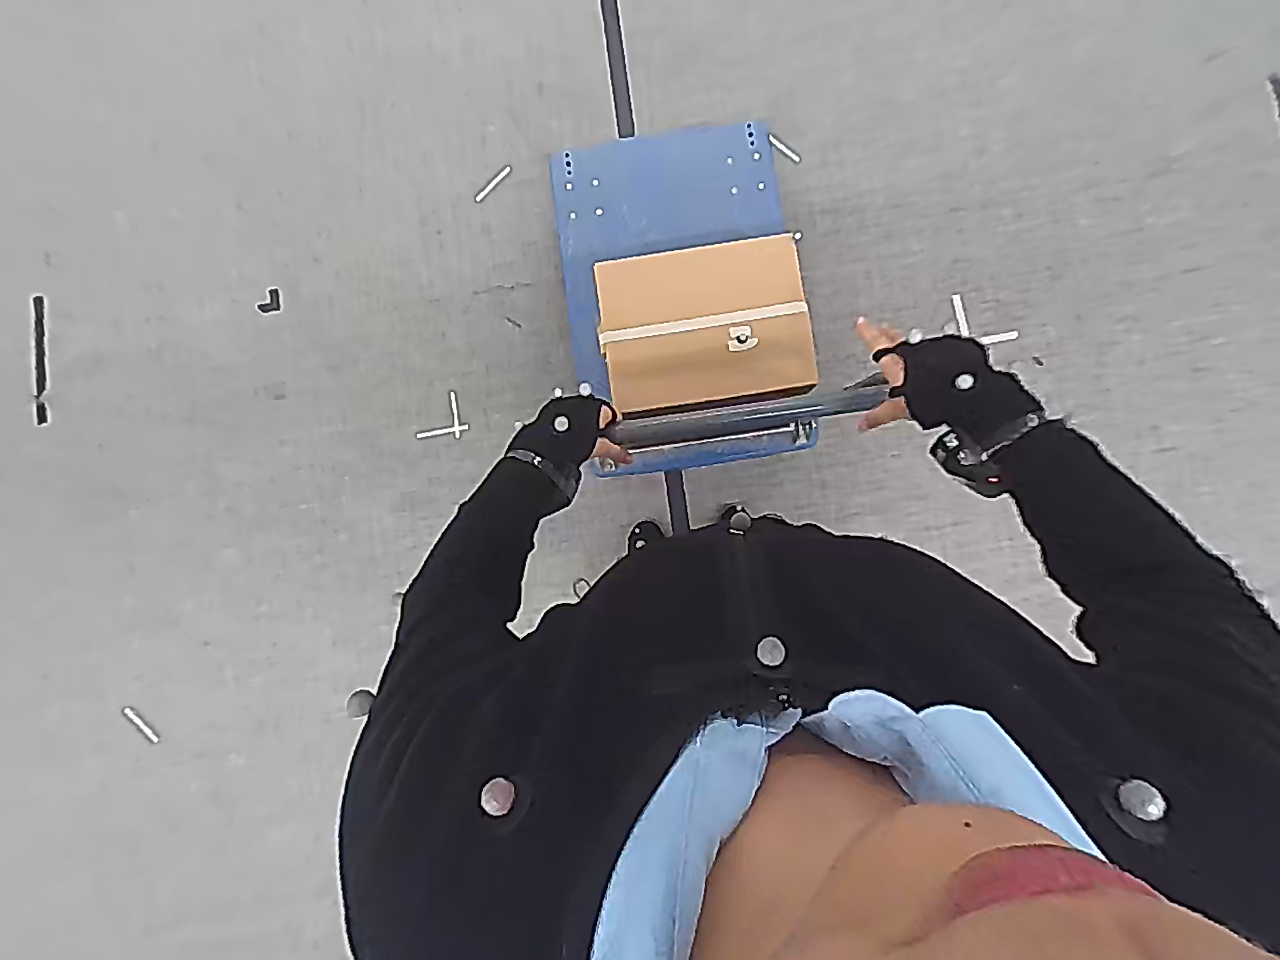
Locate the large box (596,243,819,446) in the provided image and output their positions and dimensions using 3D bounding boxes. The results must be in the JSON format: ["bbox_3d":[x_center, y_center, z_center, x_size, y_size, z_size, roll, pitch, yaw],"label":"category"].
[{"bbox_3d":[0.133,-0.275,1.204,0.408,0.320,0.320,-8,86,1],"label":"large box"}]
